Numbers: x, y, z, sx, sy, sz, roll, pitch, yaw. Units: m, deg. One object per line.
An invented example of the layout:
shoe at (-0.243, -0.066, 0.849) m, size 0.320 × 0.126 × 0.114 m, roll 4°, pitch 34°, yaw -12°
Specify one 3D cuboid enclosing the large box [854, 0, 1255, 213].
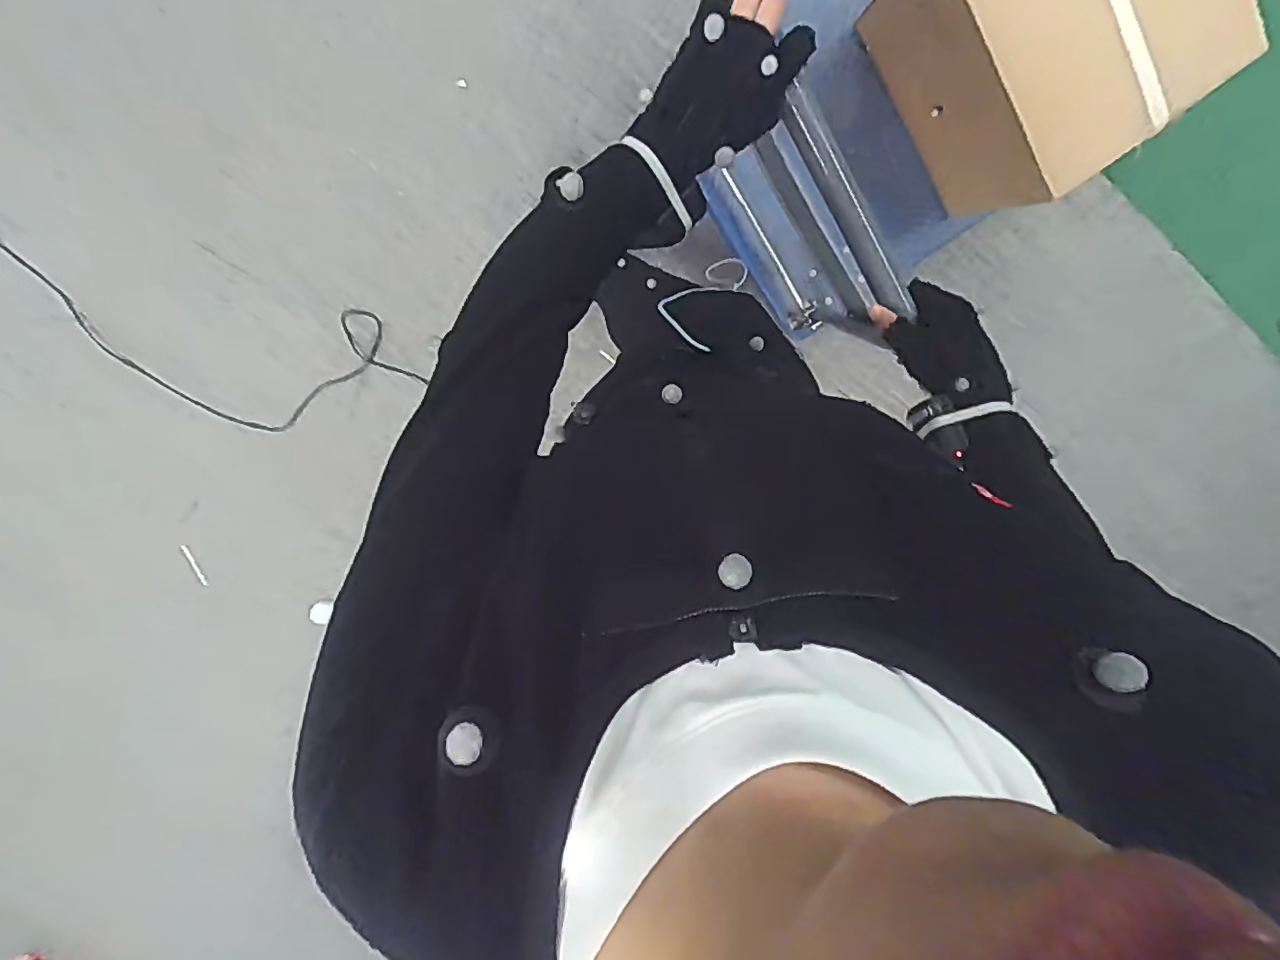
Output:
large box at (0.628, -0.720, 0.883) m, size 0.320 × 0.320 × 0.408 m, roll -36°, pitch 106°, yaw 13°
